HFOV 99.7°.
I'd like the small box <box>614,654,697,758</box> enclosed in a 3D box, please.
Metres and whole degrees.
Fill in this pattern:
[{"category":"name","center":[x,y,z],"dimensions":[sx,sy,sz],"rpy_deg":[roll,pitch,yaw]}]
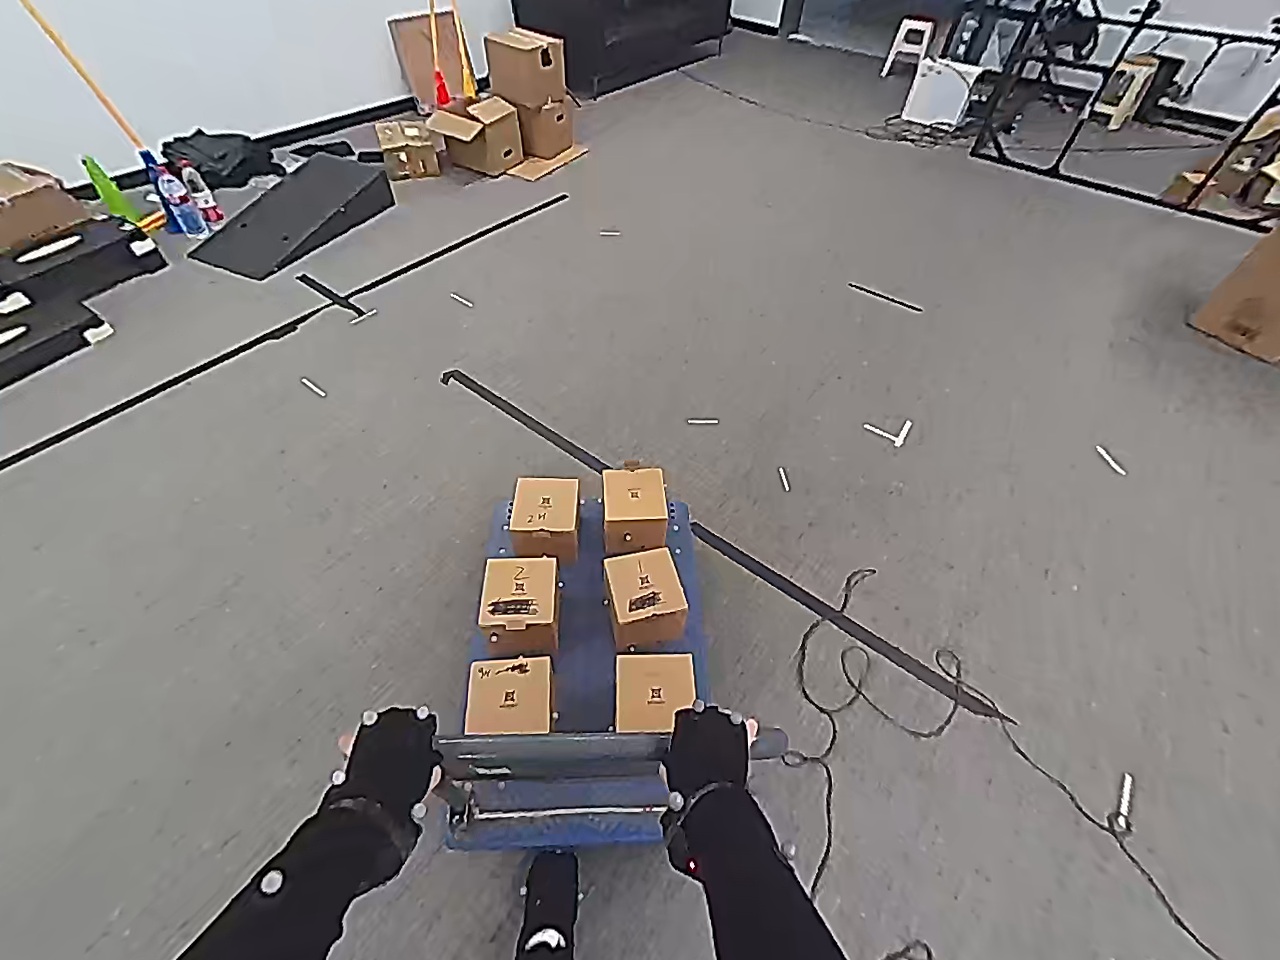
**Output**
[{"category":"small box","center":[0.028,0.495,1.175],"dimensions":[0.168,0.176,0.179],"rpy_deg":[1,49,-4]}]

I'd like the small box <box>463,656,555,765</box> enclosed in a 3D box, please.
[{"category":"small box","center":[-0.269,0.495,1.152],"dimensions":[0.168,0.176,0.179],"rpy_deg":[-1,50,-7]}]

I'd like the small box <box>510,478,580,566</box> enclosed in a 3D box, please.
[{"category":"small box","center":[-0.251,0.115,1.475],"dimensions":[0.168,0.176,0.179],"rpy_deg":[2,51,-3]}]

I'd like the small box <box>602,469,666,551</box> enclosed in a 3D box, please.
[{"category":"small box","center":[-0.020,0.090,1.516],"dimensions":[0.168,0.176,0.179],"rpy_deg":[-2,50,-6]}]

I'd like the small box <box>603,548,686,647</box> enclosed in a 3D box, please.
[{"category":"small box","center":[0.006,0.298,1.341],"dimensions":[0.168,0.176,0.179],"rpy_deg":[-9,50,-12]}]
